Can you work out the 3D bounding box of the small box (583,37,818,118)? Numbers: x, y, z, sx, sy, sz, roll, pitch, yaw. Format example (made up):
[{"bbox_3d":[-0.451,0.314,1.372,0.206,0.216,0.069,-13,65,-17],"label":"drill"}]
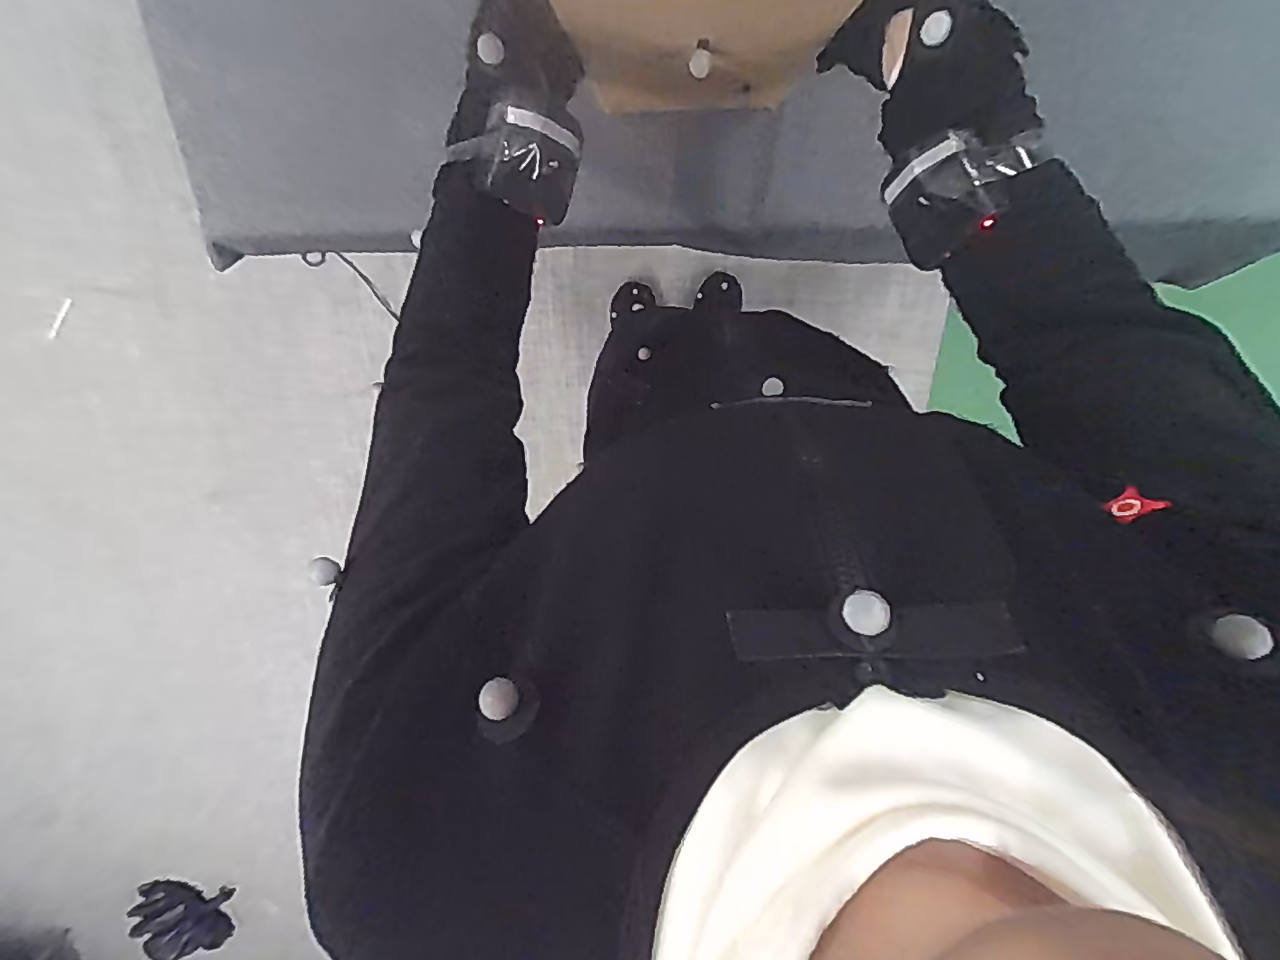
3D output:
[{"bbox_3d":[0.046,-0.415,0.446,0.179,0.176,0.168,0,113,5],"label":"small box"}]

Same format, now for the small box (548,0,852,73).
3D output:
[{"bbox_3d":[0.036,-0.350,0.298,0.179,0.176,0.168,-2,114,5],"label":"small box"}]
